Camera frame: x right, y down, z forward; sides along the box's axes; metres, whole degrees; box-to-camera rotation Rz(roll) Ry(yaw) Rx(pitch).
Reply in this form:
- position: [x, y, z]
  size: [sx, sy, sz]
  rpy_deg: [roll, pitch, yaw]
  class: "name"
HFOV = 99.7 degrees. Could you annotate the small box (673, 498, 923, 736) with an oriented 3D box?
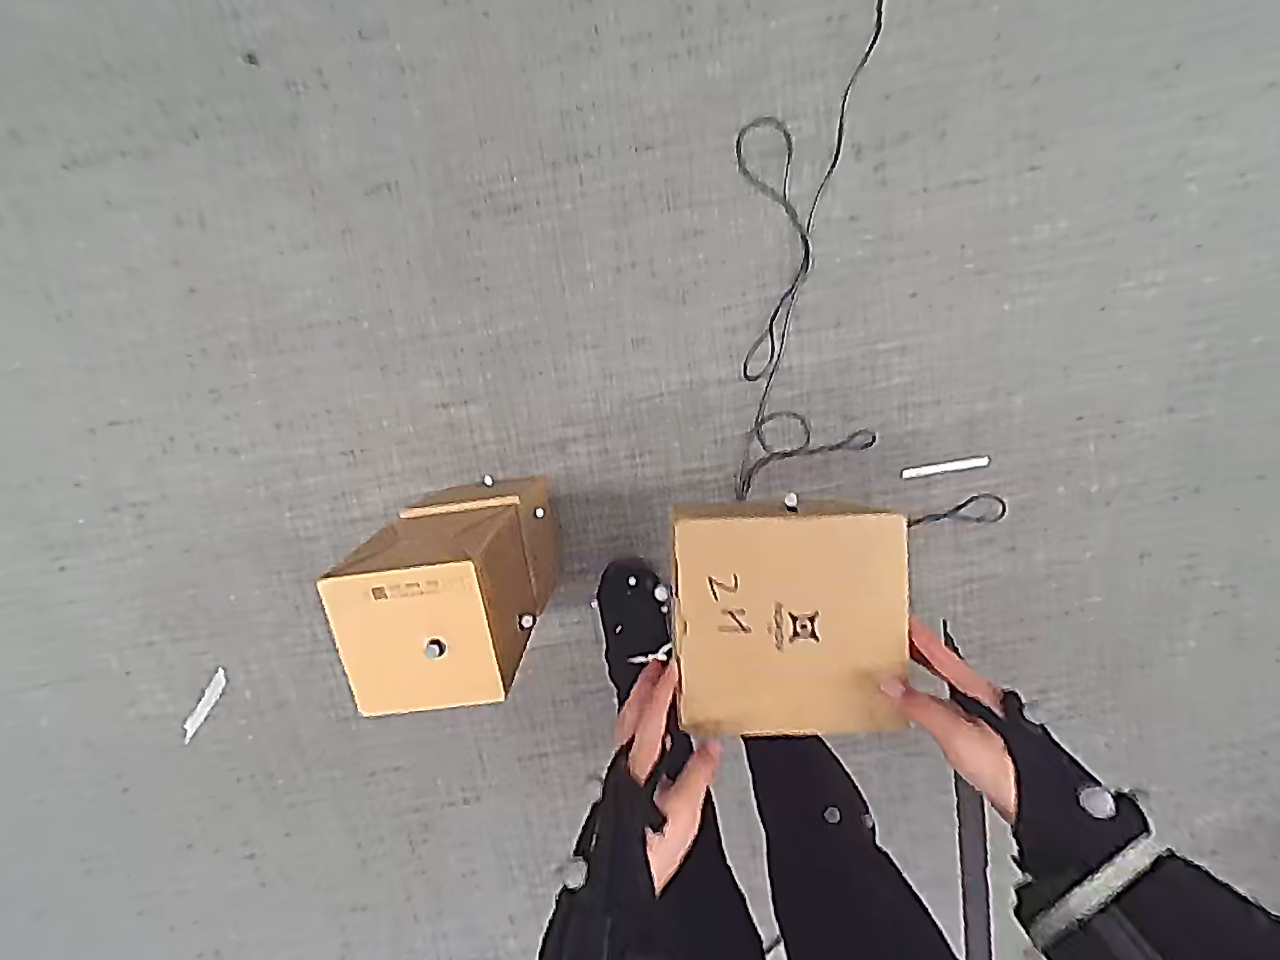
- position: [0.121, 0.103, 0.474]
  size: [0.179, 0.176, 0.168]
  rpy_deg: [-1, 91, 2]
  class: "small box"
